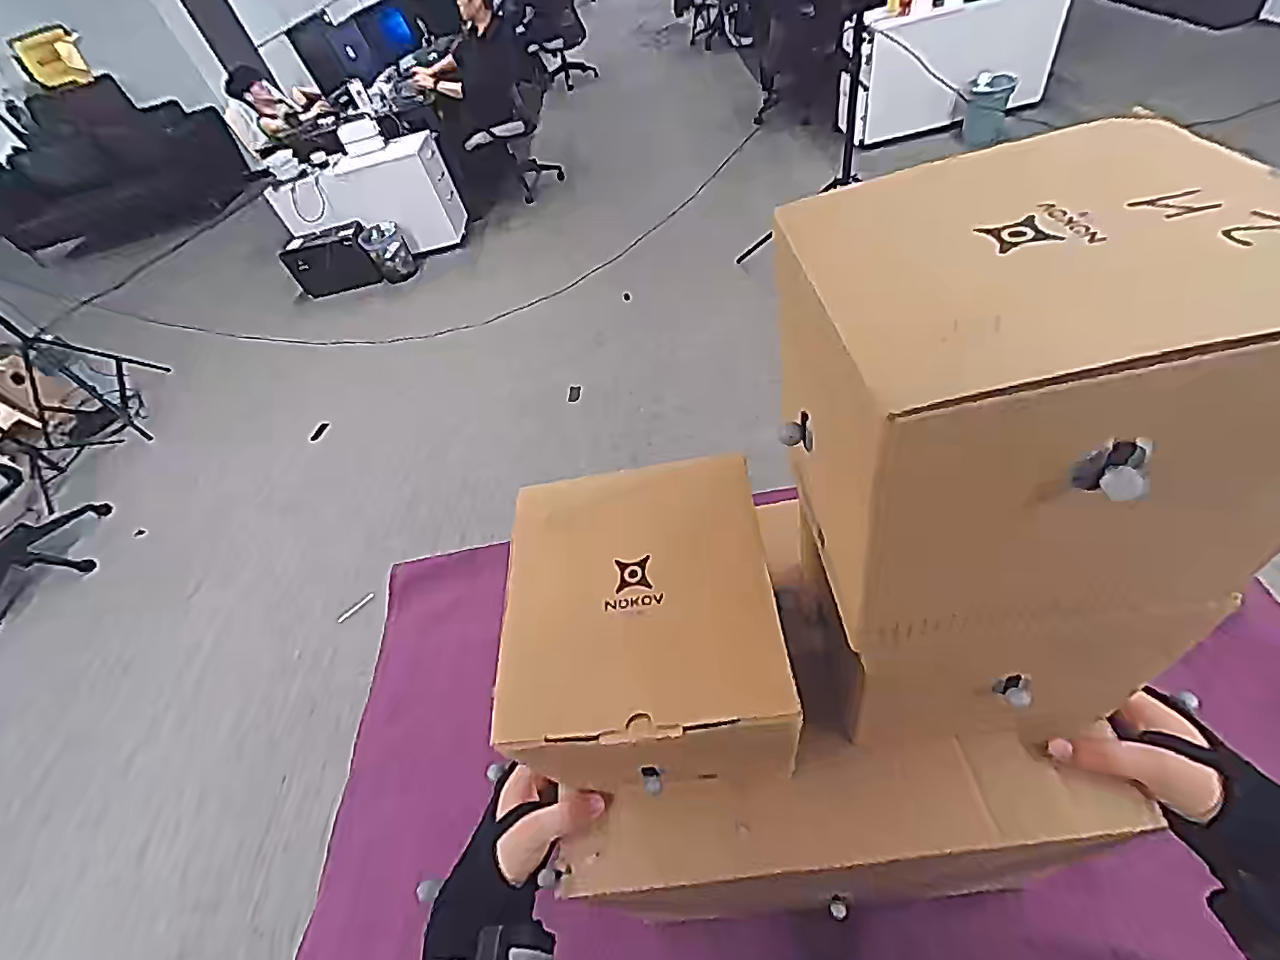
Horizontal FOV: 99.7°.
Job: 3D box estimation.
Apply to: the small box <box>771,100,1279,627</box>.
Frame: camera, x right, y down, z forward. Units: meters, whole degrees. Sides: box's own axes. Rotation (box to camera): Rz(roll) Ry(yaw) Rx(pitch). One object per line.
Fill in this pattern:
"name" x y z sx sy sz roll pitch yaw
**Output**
"small box" 0.171 -0.045 0.261 0.179 0.176 0.168 -10 47 8
